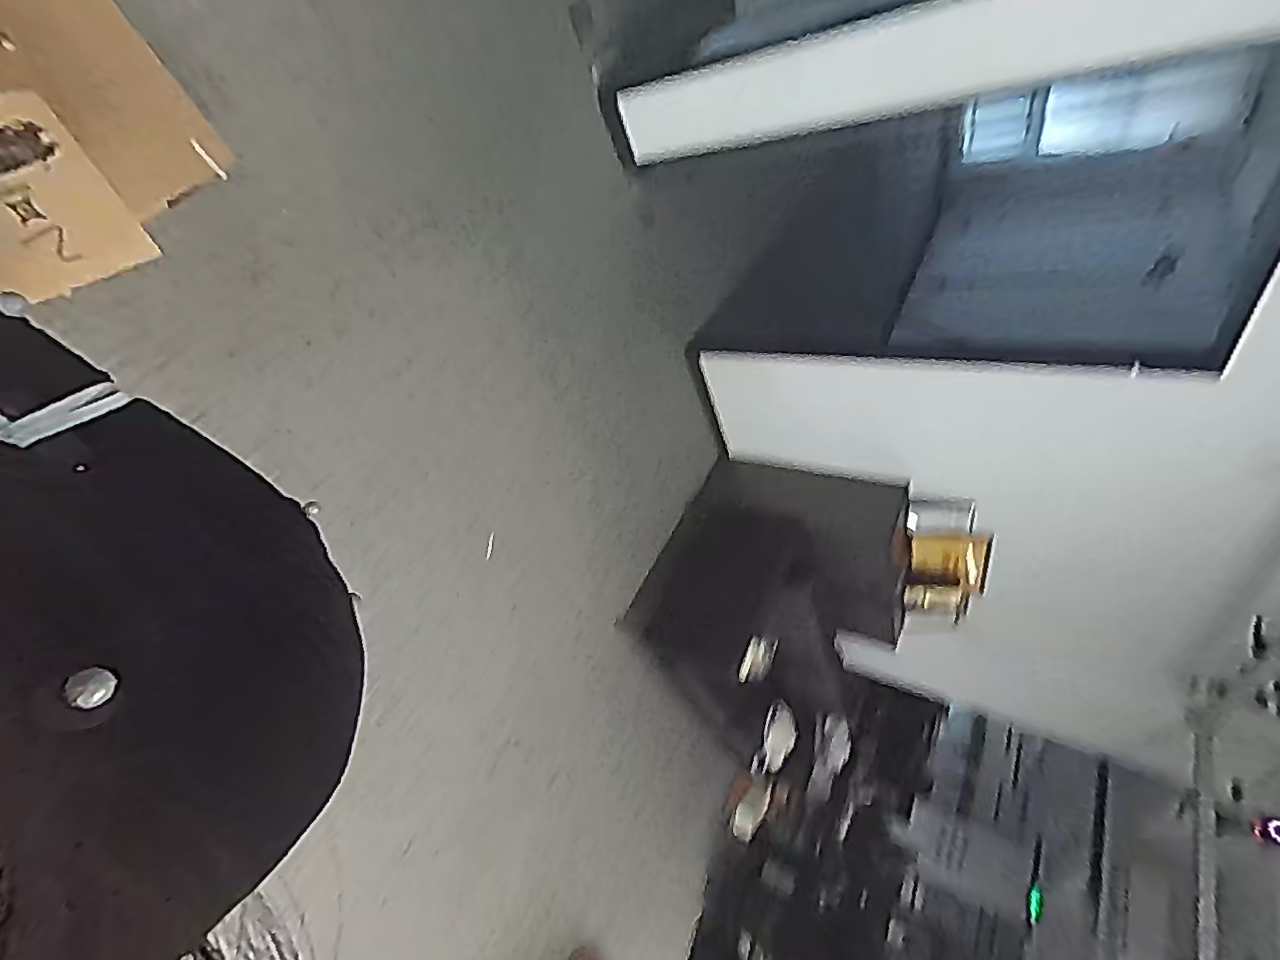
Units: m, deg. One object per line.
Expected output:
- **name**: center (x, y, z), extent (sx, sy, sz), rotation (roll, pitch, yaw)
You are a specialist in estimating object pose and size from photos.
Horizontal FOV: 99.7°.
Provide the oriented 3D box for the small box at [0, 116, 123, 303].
- **small box**: center (-0.854, -0.341, 0.702), extent (0.179, 0.176, 0.168), rotation (-55, 141, -32)
